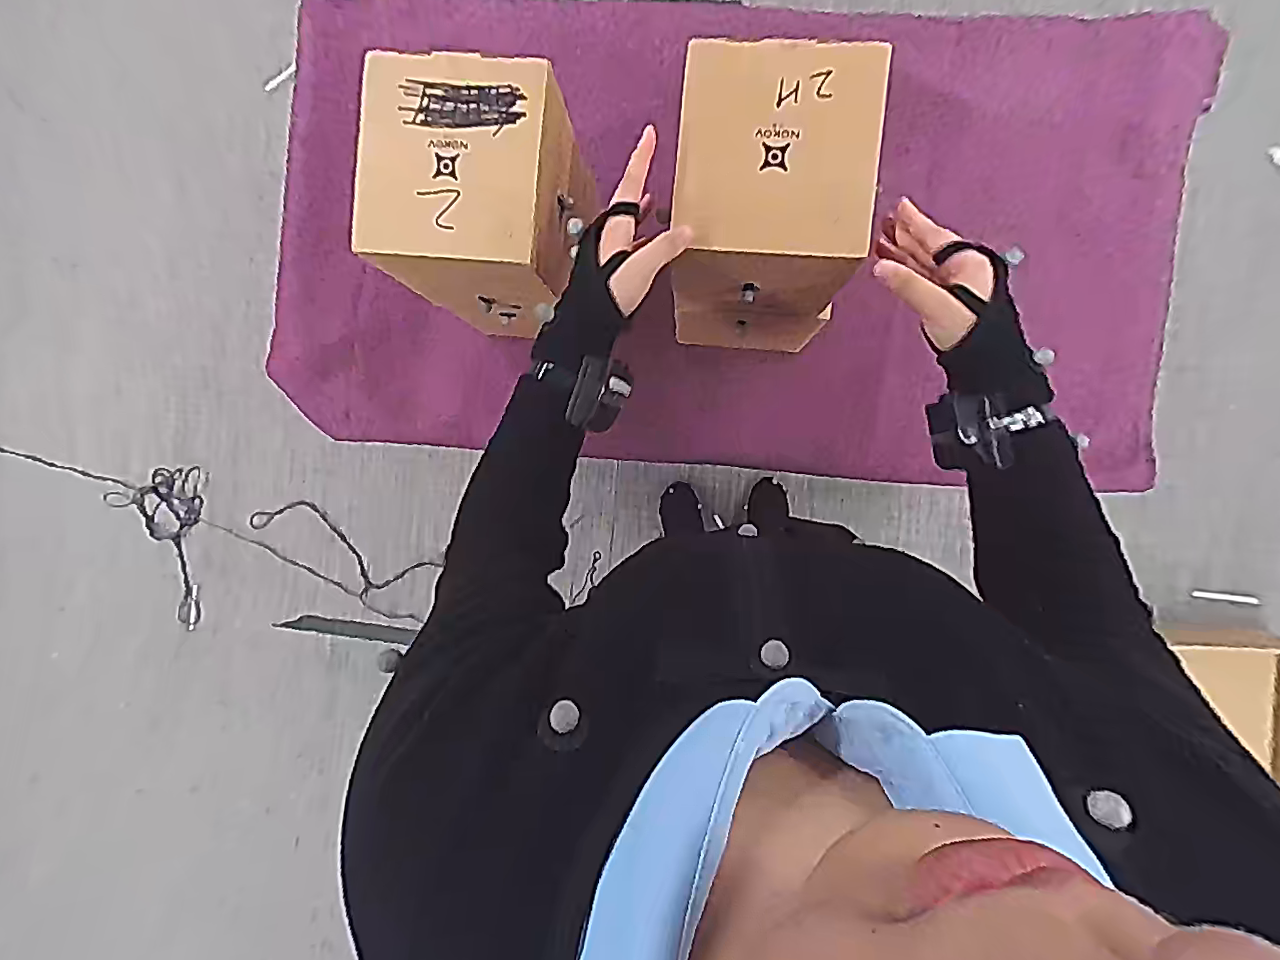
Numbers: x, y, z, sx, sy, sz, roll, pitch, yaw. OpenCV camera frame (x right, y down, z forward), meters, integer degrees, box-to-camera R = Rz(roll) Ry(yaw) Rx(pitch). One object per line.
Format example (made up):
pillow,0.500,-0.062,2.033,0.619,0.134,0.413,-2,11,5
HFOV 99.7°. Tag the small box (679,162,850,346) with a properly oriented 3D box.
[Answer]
small box,0.146,-0.272,0.688,0.179,0.176,0.168,6,92,6

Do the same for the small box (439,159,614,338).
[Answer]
small box,-0.138,-0.291,0.712,0.179,0.176,0.168,6,92,4
